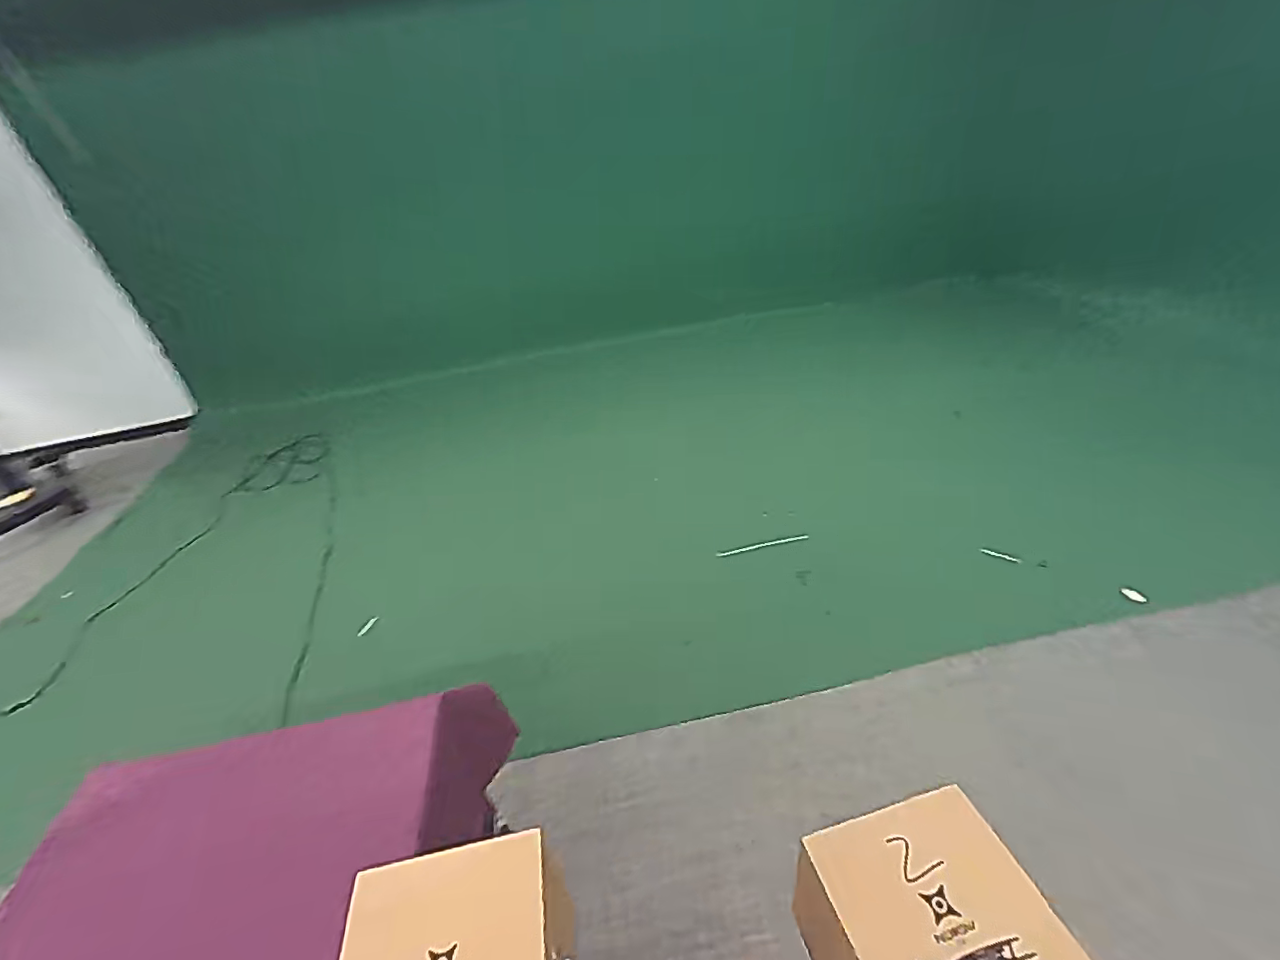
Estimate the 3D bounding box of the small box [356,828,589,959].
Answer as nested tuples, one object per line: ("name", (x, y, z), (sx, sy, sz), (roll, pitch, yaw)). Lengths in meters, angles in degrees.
("small box", (-0.135, 0.443, 0.465), (0.168, 0.176, 0.179), (-10, 37, -4))
